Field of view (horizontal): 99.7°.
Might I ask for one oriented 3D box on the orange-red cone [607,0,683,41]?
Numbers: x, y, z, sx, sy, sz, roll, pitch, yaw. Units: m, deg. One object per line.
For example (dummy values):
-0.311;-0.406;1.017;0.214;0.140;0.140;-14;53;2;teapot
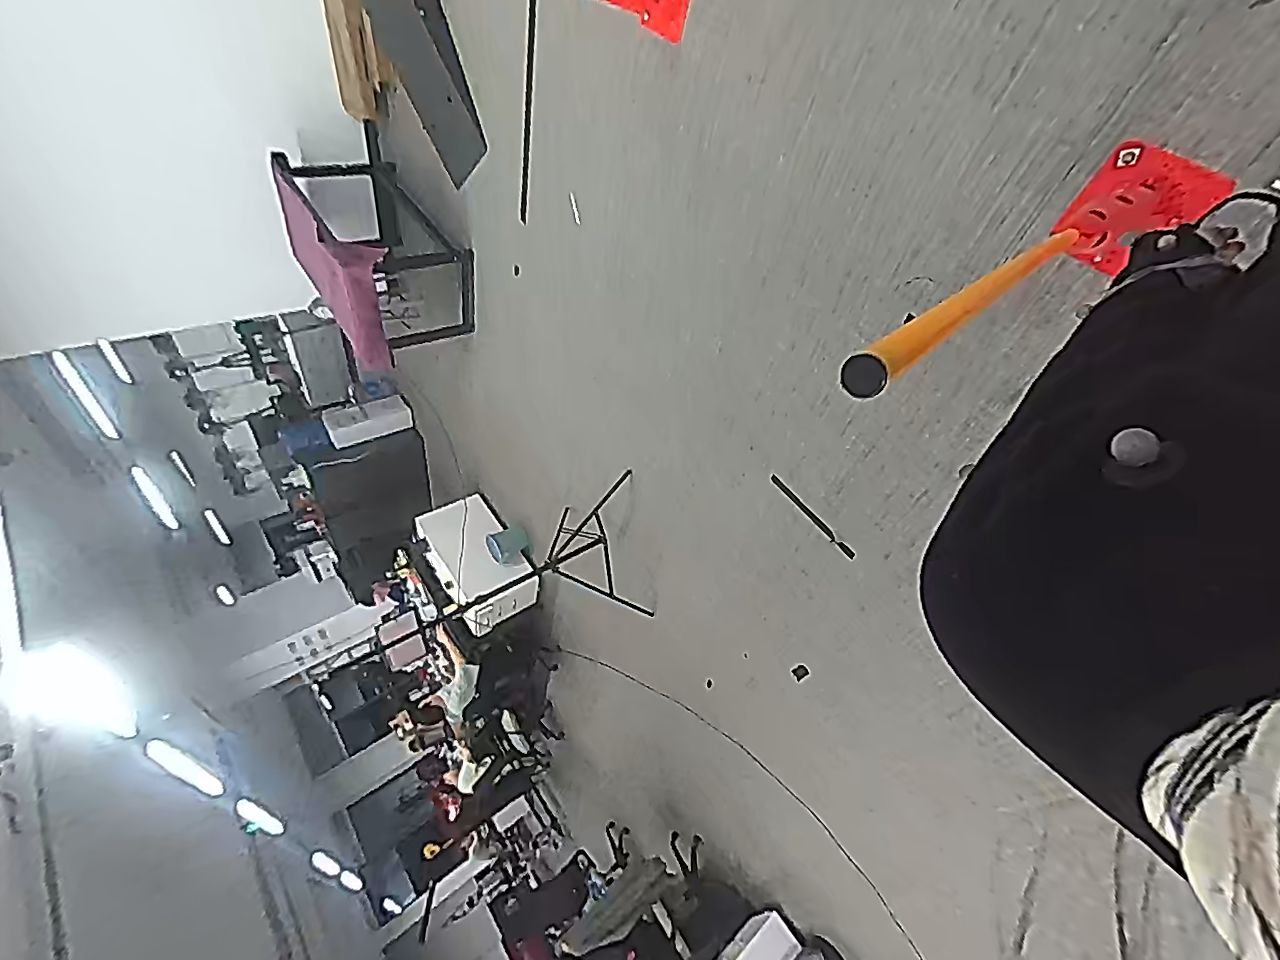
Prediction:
-0.063;-1.395;1.514;0.199;0.360;0.198;51;145;23;orange-red cone
